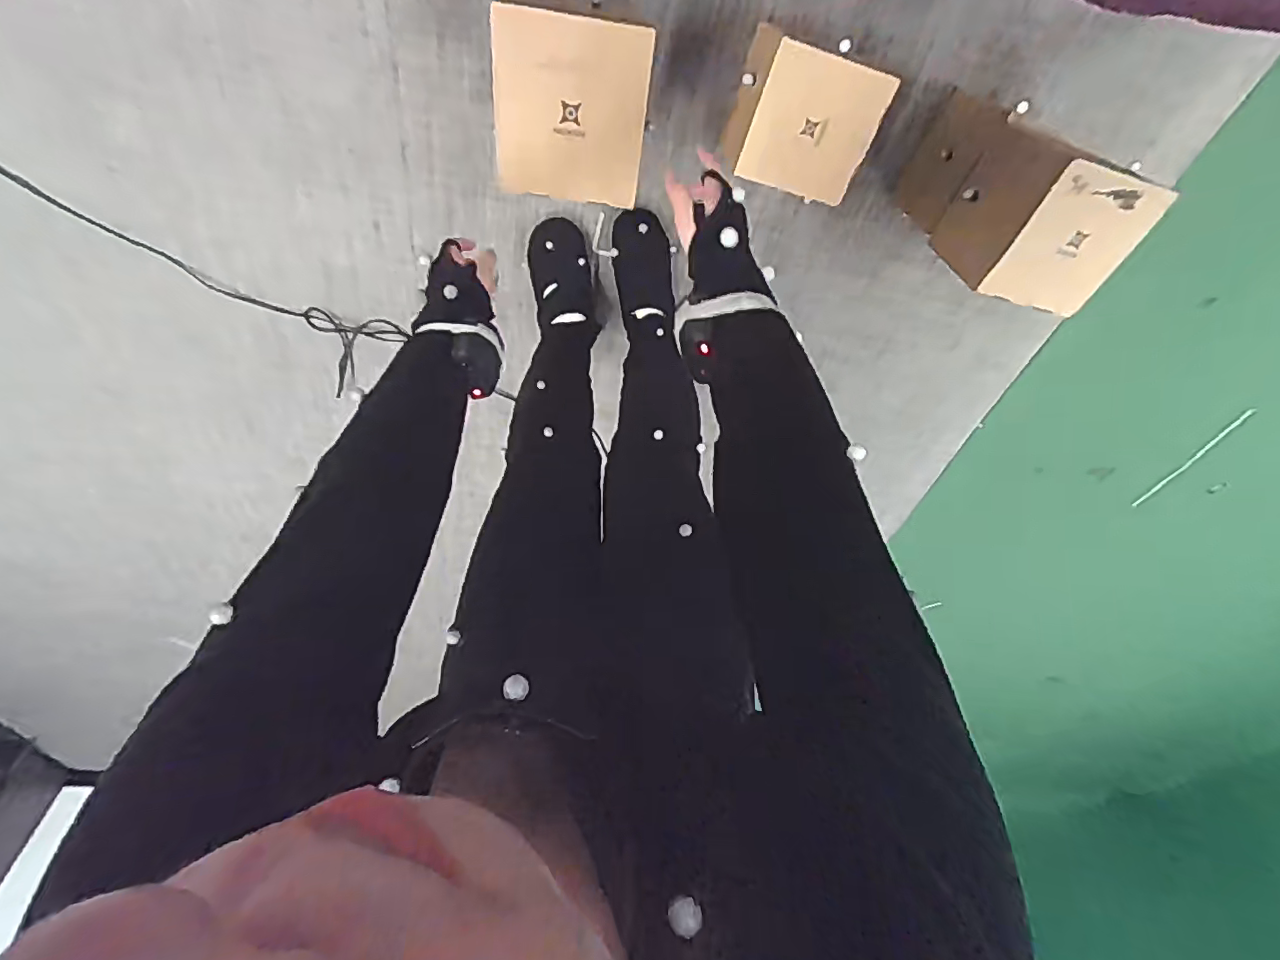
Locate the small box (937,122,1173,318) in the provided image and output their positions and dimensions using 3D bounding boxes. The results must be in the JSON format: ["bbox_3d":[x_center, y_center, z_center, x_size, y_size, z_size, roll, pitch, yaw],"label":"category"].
[{"bbox_3d":[0.555,-0.363,0.760,0.168,0.176,0.179,9,136,-14],"label":"small box"}]

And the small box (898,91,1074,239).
[{"bbox_3d":[0.549,-0.486,0.872,0.168,0.176,0.179,13,133,-15],"label":"small box"}]
